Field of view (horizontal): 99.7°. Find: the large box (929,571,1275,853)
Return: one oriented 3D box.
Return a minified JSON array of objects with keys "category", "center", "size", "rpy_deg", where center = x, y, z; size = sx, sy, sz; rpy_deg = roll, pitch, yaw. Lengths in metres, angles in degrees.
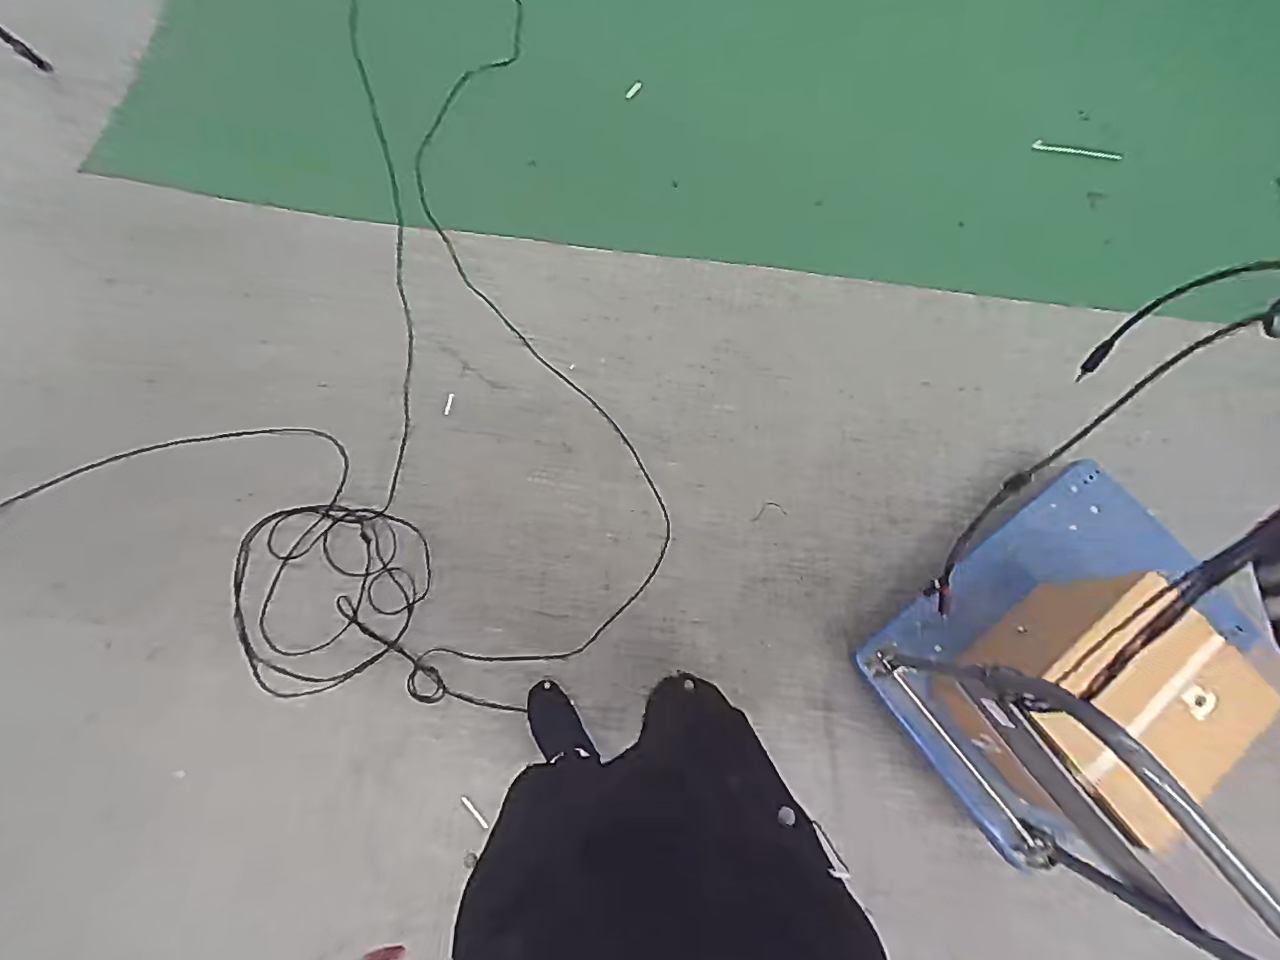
[{"category":"large box","center":[0.915,0.449,1.125],"size":[0.408,0.320,0.320],"rpy_deg":[-35,79,-12]}]
